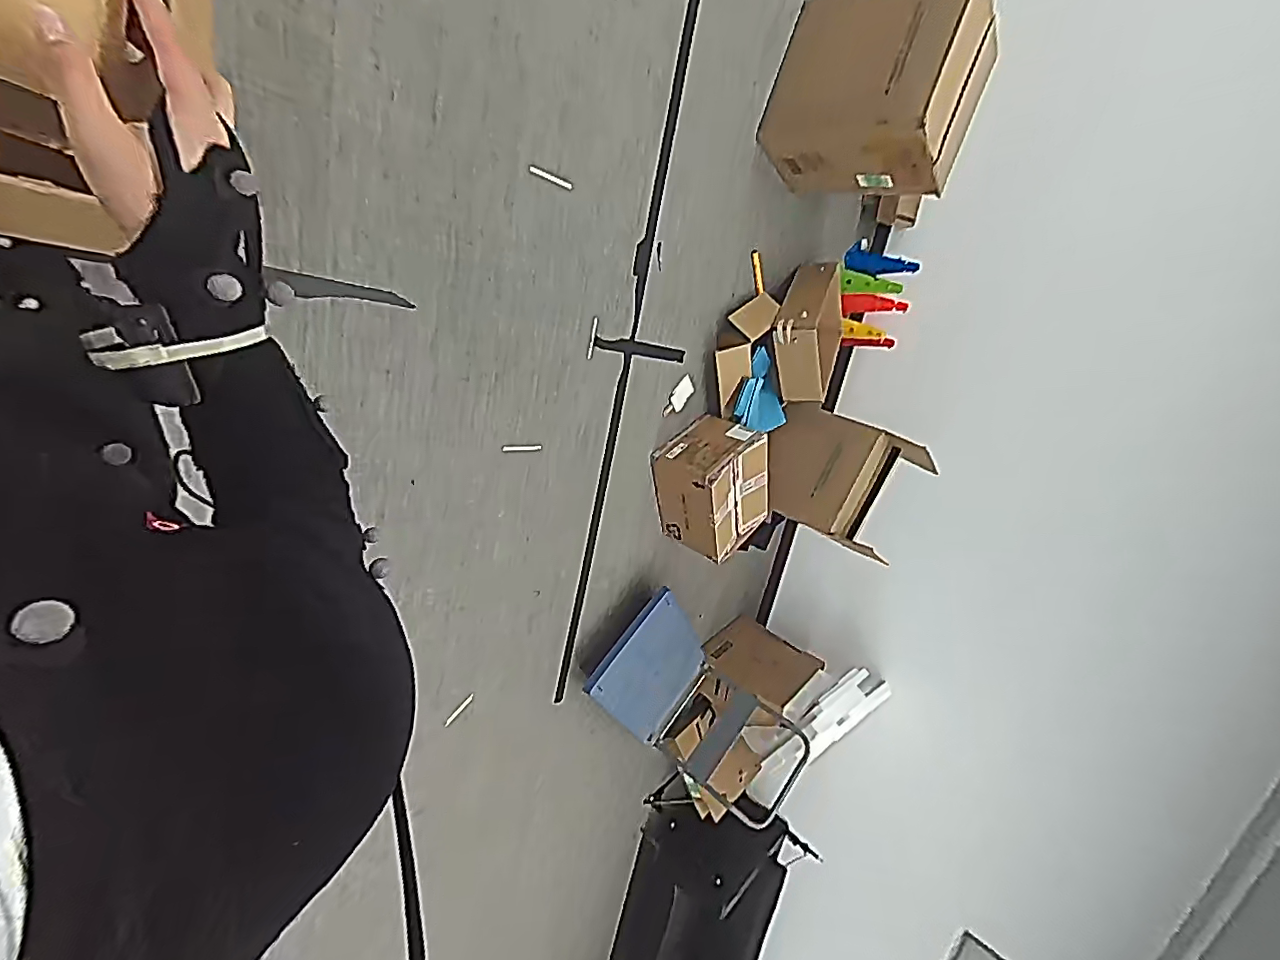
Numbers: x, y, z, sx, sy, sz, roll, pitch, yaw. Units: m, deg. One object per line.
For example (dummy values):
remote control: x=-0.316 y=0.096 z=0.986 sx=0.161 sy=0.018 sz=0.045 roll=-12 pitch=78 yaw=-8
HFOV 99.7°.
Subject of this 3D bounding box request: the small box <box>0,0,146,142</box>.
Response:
small box: x=-0.375 y=-0.294 z=0.266 sx=0.179 sy=0.176 sz=0.168 roll=2 pitch=104 yaw=-51
